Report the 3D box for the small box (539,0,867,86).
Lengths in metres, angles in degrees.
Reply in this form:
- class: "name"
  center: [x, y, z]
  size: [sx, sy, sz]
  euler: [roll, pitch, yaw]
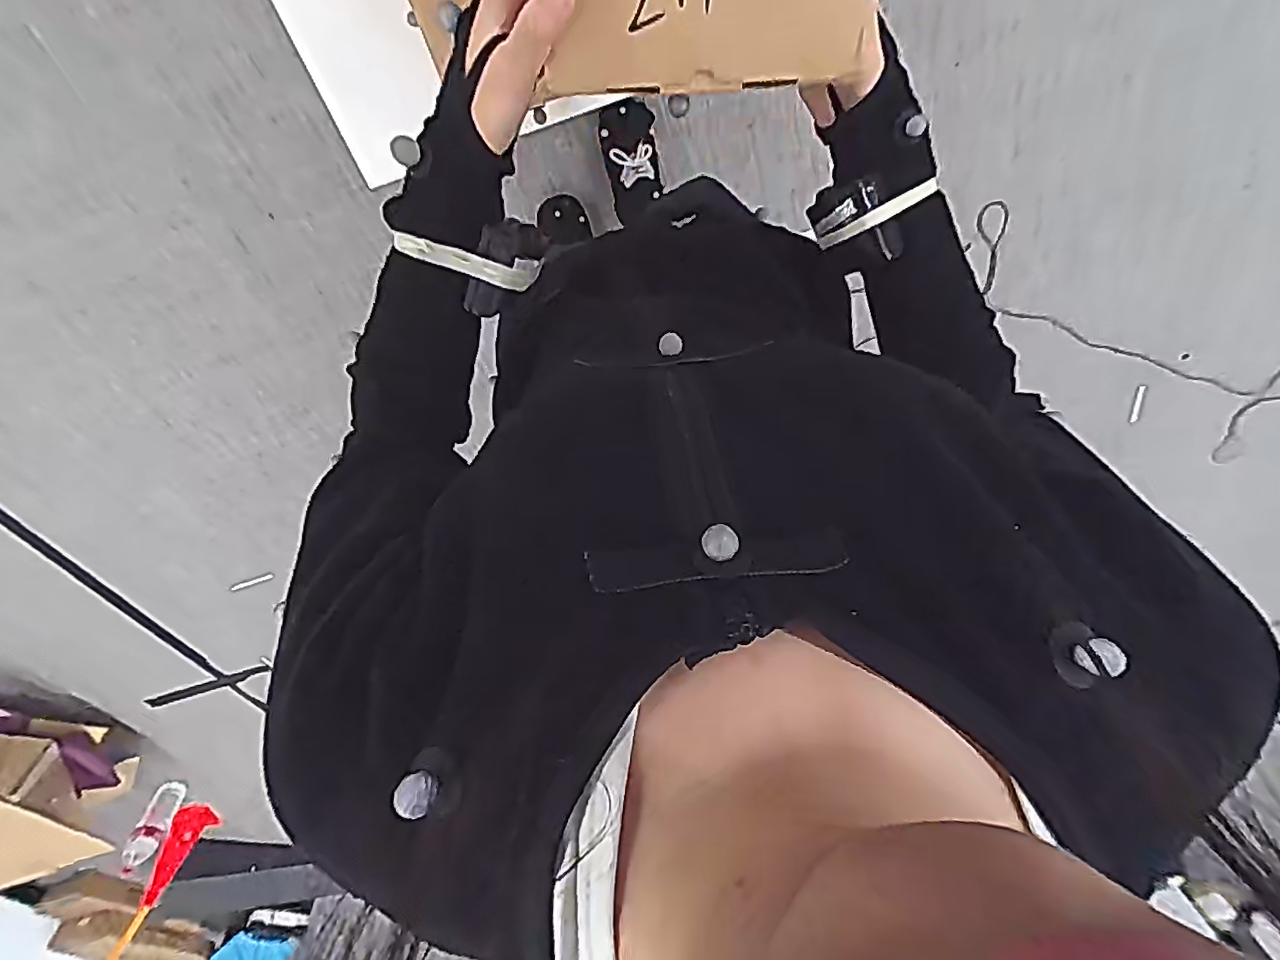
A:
- class: "small box"
  center: [0.026, -0.331, 0.299]
  size: [0.168, 0.176, 0.179]
  euler: [-3, 126, -1]
